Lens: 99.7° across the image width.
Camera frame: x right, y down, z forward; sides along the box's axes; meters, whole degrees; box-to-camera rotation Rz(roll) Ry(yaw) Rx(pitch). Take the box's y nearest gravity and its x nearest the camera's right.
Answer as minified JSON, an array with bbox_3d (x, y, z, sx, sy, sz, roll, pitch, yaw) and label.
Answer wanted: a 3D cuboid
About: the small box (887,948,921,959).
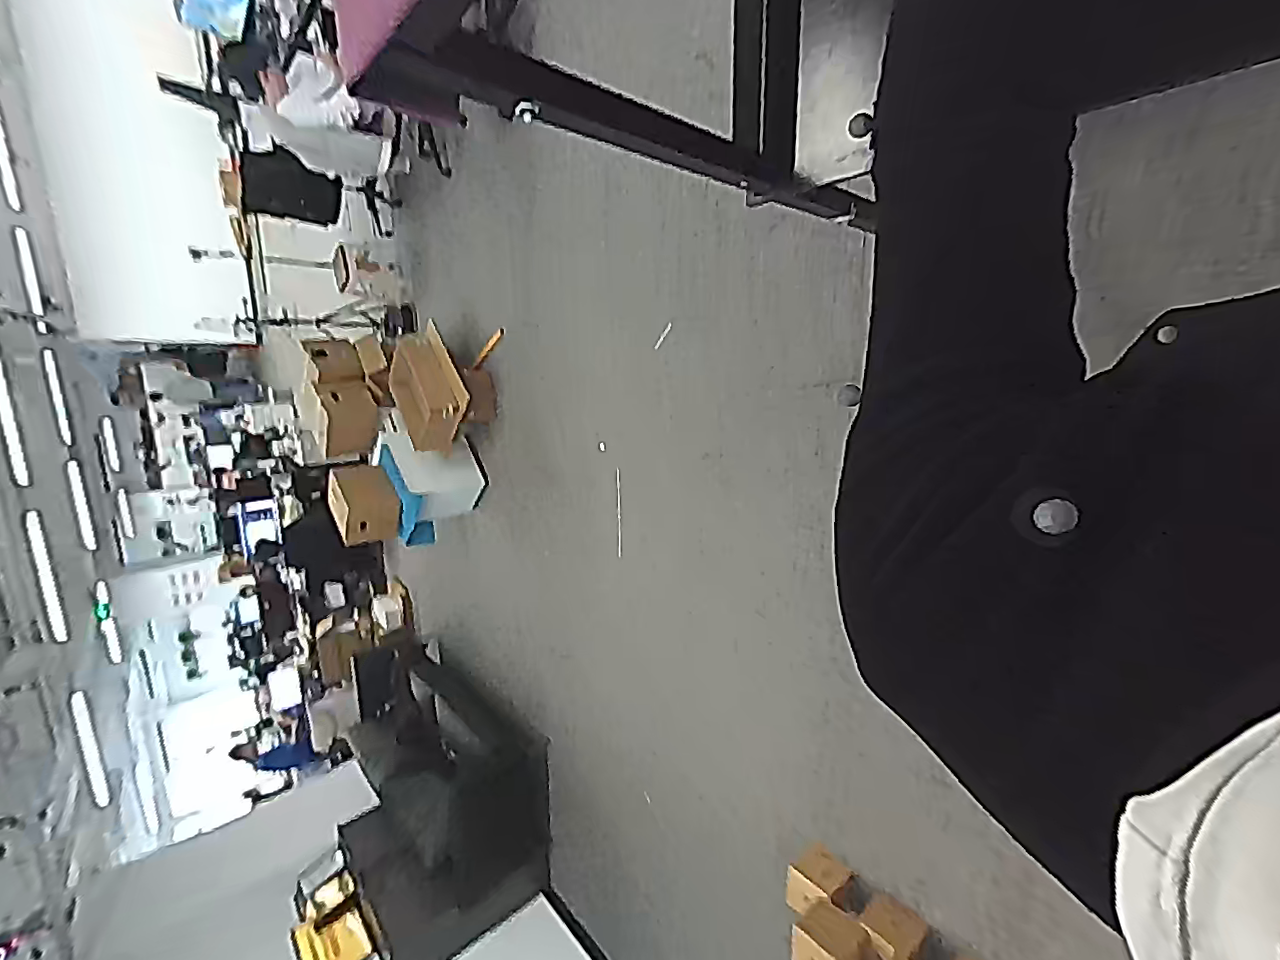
[{"bbox_3d":[0.815,1.572,1.627,0.179,0.176,0.168,16,111,45],"label":"small box"}]

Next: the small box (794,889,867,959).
[{"bbox_3d":[0.644,1.542,1.819,0.179,0.176,0.168,12,107,49],"label":"small box"}]

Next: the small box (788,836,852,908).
[{"bbox_3d":[0.677,1.489,2.023,0.168,0.176,0.179,13,109,47],"label":"small box"}]
